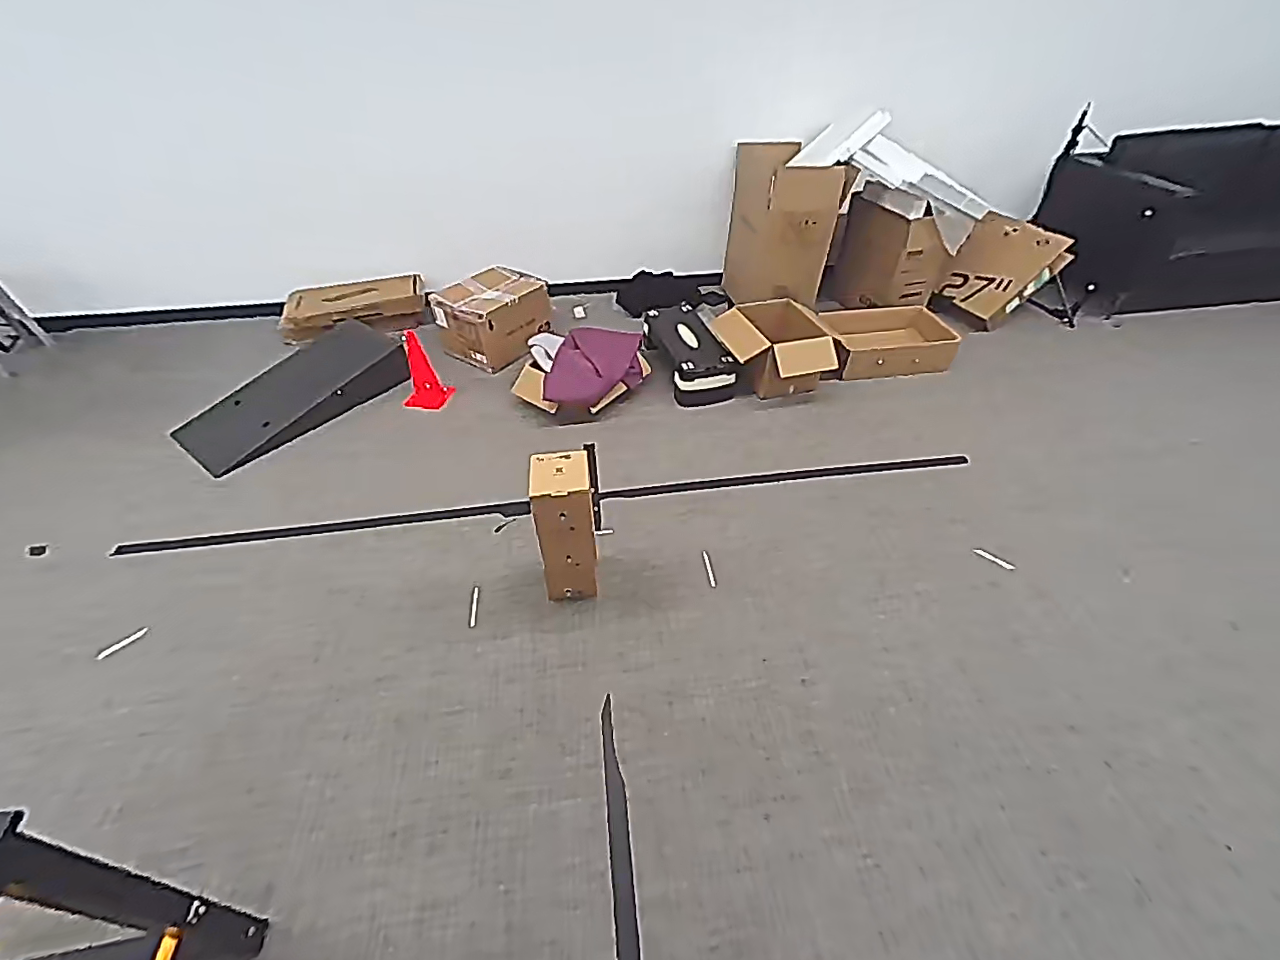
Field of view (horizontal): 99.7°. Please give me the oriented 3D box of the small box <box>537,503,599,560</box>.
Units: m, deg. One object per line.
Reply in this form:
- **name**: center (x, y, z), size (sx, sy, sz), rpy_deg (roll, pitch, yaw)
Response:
- **small box**: center (-0.215, 0.116, 1.617), size (0.168, 0.176, 0.179), rpy_deg (-6, 43, -5)

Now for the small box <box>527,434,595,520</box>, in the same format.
- **small box**: center (-0.217, -0.002, 1.503), size (0.168, 0.176, 0.179), rpy_deg (-6, 44, -5)

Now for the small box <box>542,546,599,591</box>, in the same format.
- **small box**: center (-0.222, 0.231, 1.735), size (0.168, 0.176, 0.179), rpy_deg (-7, 45, -5)
